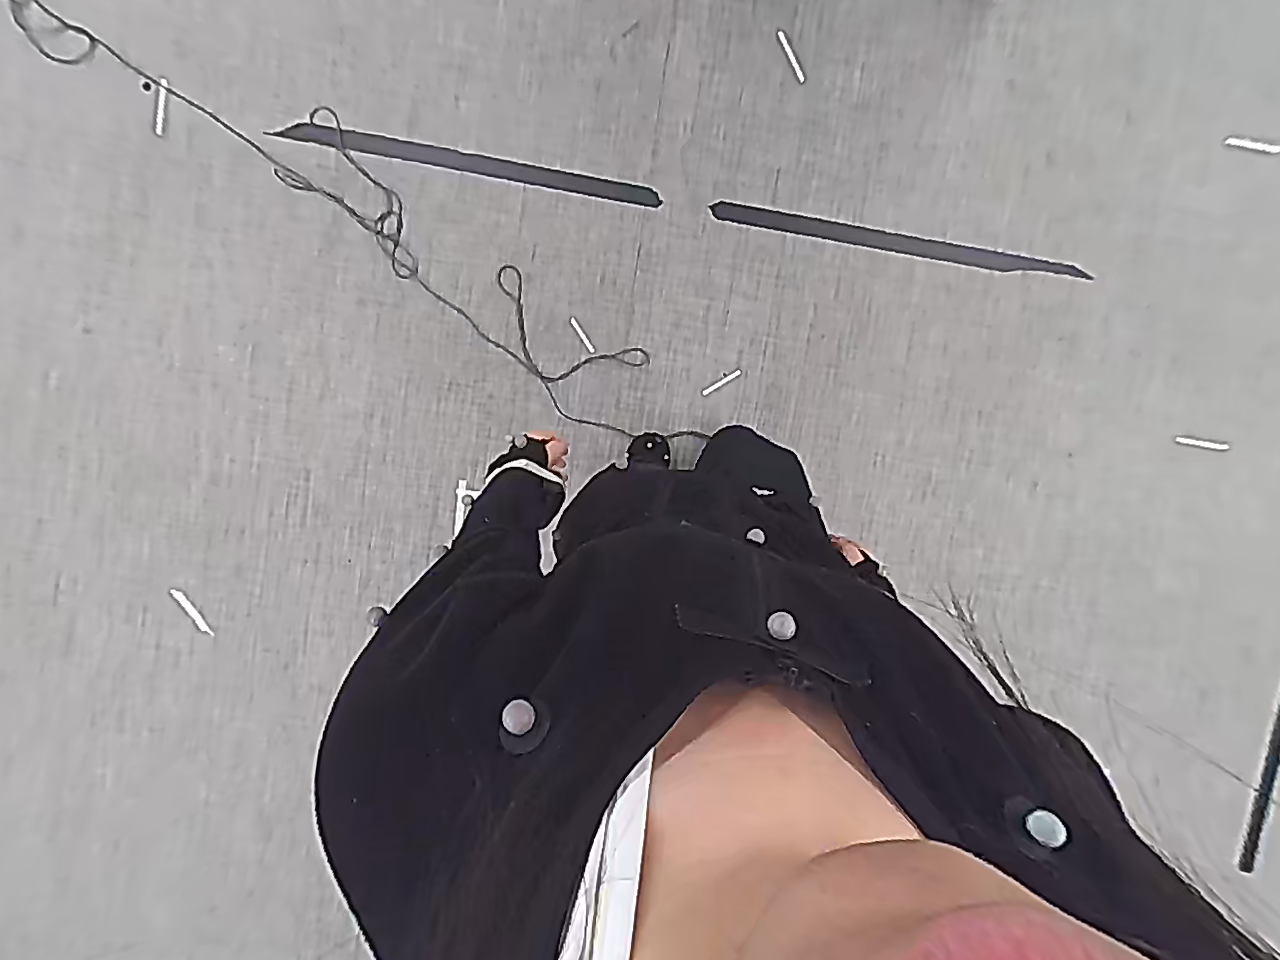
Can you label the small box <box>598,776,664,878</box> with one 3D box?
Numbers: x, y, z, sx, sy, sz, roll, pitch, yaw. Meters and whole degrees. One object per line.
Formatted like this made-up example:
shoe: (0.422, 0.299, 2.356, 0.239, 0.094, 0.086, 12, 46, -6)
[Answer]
small box: (-0.027, 0.927, 1.459, 0.168, 0.176, 0.179, 2, 94, -2)
